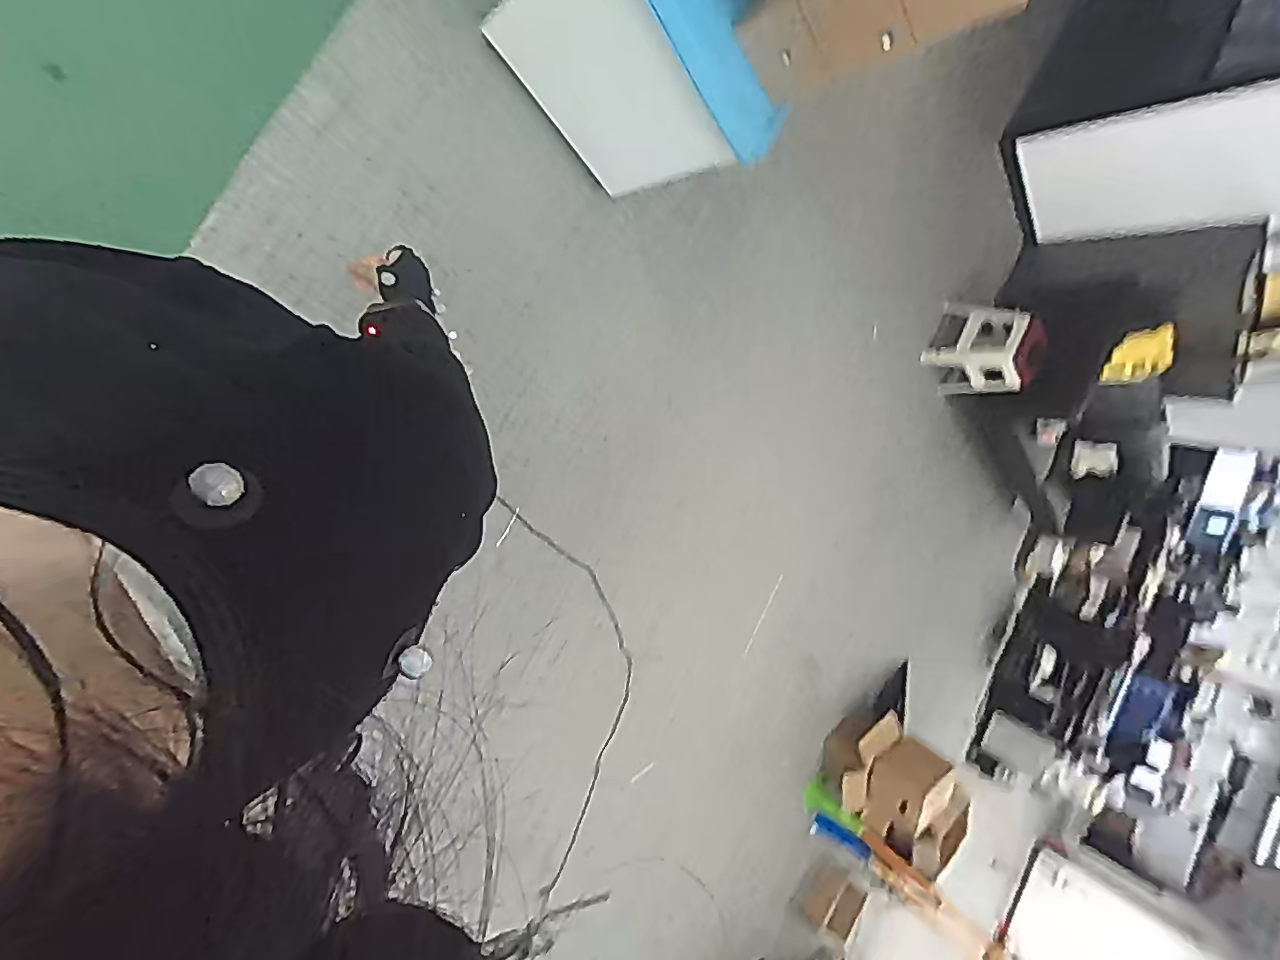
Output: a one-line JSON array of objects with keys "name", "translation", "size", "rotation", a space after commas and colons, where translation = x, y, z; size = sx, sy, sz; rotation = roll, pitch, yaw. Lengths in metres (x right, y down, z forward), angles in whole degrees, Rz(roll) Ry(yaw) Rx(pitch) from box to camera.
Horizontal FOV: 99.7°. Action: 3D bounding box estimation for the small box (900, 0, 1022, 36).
[{"name": "small box", "translation": [0.519, -0.855, 0.852], "size": [0.179, 0.176, 0.168], "rotation": [35, 79, -38]}]
